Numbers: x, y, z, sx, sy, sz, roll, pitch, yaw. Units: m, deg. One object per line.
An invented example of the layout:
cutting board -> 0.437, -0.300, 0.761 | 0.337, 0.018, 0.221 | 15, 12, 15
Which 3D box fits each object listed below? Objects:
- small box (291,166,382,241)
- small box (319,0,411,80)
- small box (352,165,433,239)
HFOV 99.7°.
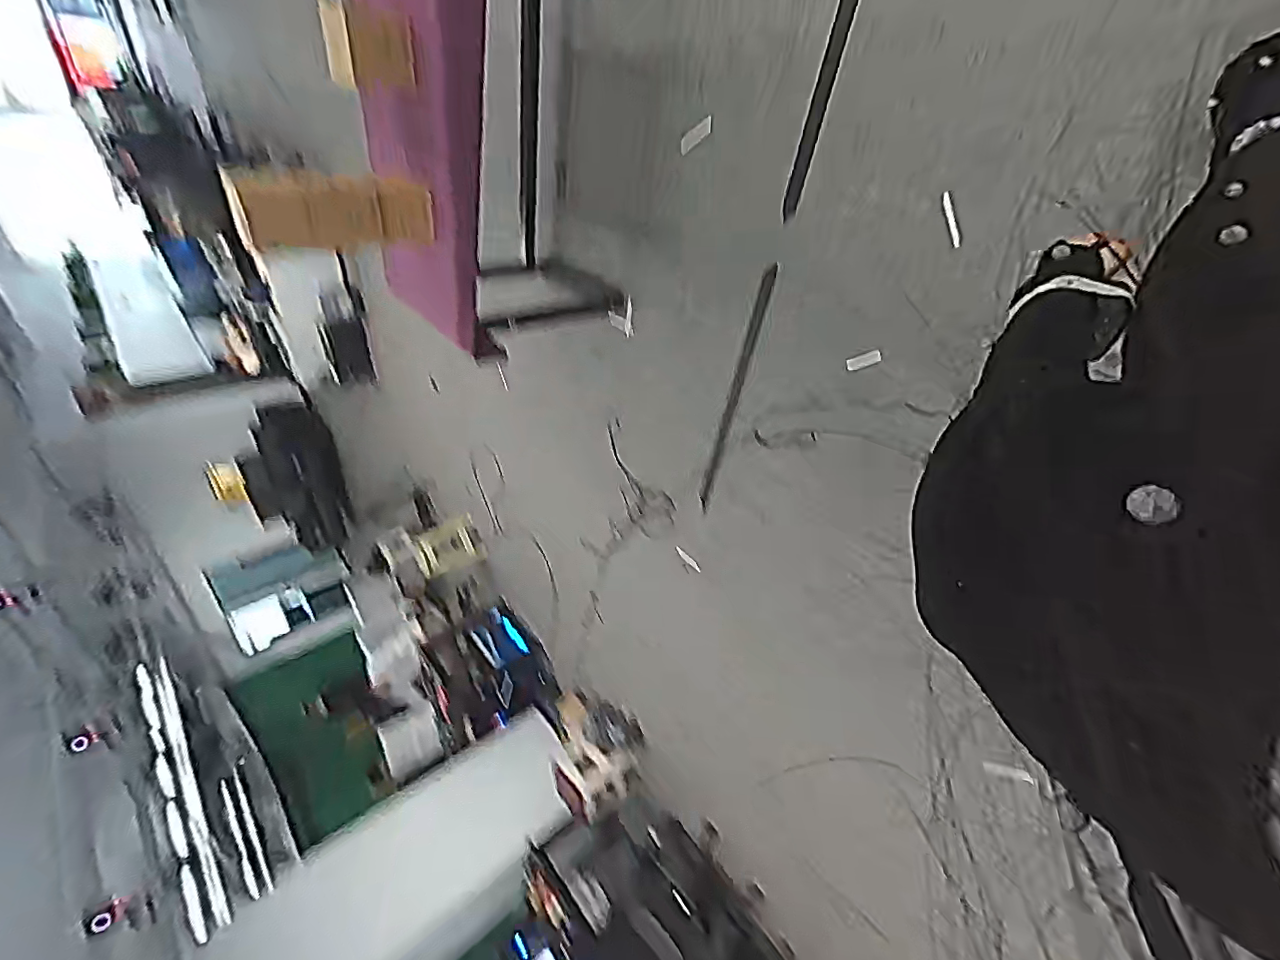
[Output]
small box -> -0.852, -0.790, 1.537 | 0.179, 0.176, 0.168 | 34, 133, 36
small box -> -0.719, -1.175, 1.430 | 0.179, 0.176, 0.168 | 39, 136, 32
small box -> -0.746, -0.851, 1.647 | 0.179, 0.176, 0.168 | 39, 136, 33
